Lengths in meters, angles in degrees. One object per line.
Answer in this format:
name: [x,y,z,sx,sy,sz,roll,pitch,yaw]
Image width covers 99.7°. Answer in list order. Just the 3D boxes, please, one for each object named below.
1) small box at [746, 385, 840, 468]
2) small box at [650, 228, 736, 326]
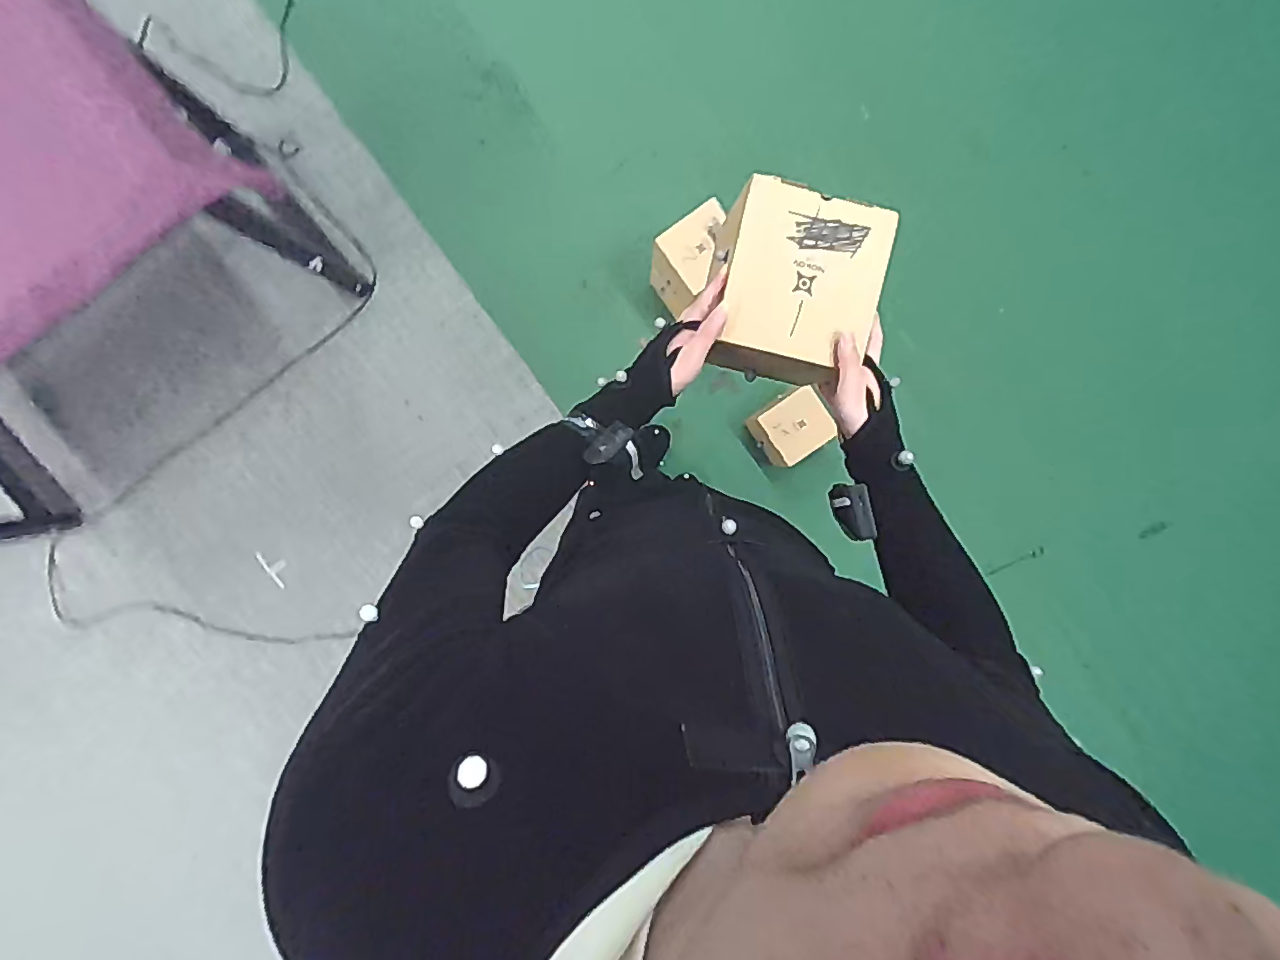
small box: [0.430,-0.151,1.553,0.179,0.176,0.168,-35,94,0]
small box: [0.143,-0.563,1.525,0.179,0.176,0.168,-36,93,-1]
